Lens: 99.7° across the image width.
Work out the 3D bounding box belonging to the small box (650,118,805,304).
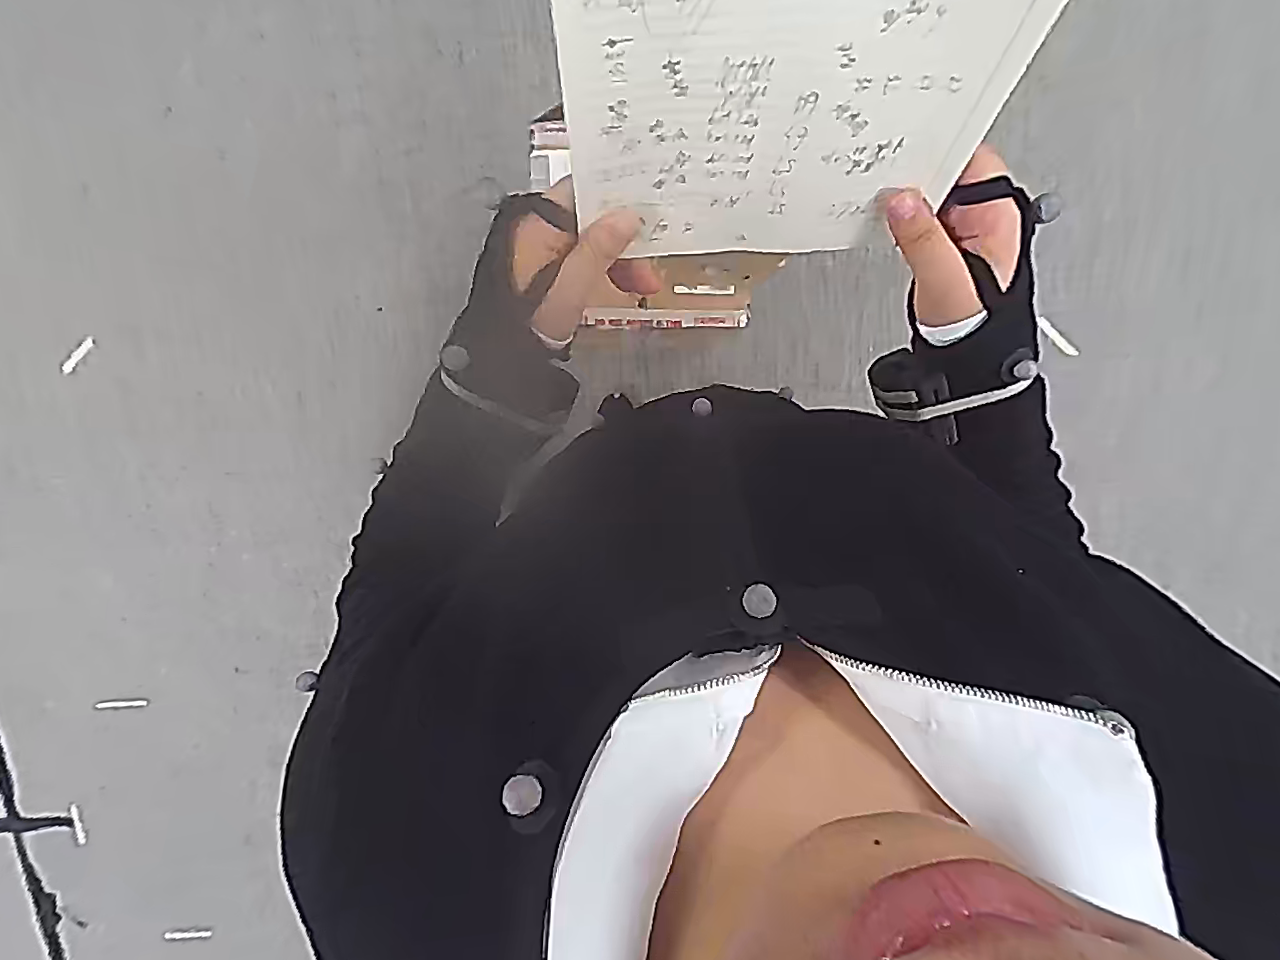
[{"bbox_3d":[0.103,-0.339,0.715,0.168,0.176,0.179,3,101,-3],"label":"small box"}]

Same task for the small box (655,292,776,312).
[{"bbox_3d":[0.117,-0.370,0.877,0.179,0.176,0.168,-1,100,-1],"label":"small box"}]
